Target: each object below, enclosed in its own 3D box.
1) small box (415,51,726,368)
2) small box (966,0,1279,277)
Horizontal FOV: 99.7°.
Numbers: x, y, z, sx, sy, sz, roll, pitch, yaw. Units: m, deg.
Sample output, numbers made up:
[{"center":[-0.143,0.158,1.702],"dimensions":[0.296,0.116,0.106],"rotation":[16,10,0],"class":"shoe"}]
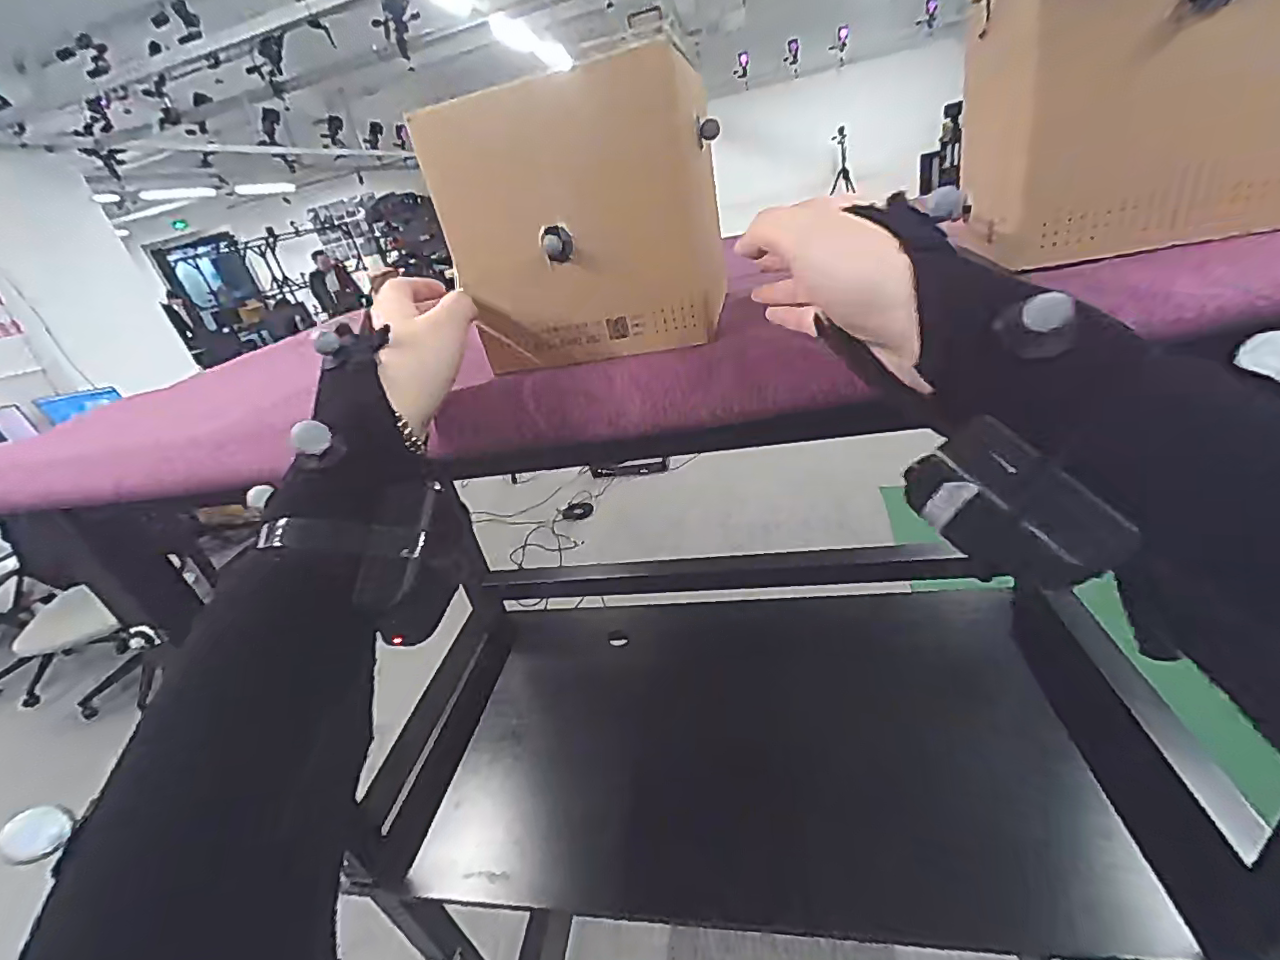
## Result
[{"center":[-0.028,-0.190,0.414],"dimensions":[0.168,0.176,0.179],"rotation":[-4,29,15],"class":"small box"},{"center":[0.327,-0.240,0.351],"dimensions":[0.179,0.176,0.168],"rotation":[-3,28,19],"class":"small box"}]
